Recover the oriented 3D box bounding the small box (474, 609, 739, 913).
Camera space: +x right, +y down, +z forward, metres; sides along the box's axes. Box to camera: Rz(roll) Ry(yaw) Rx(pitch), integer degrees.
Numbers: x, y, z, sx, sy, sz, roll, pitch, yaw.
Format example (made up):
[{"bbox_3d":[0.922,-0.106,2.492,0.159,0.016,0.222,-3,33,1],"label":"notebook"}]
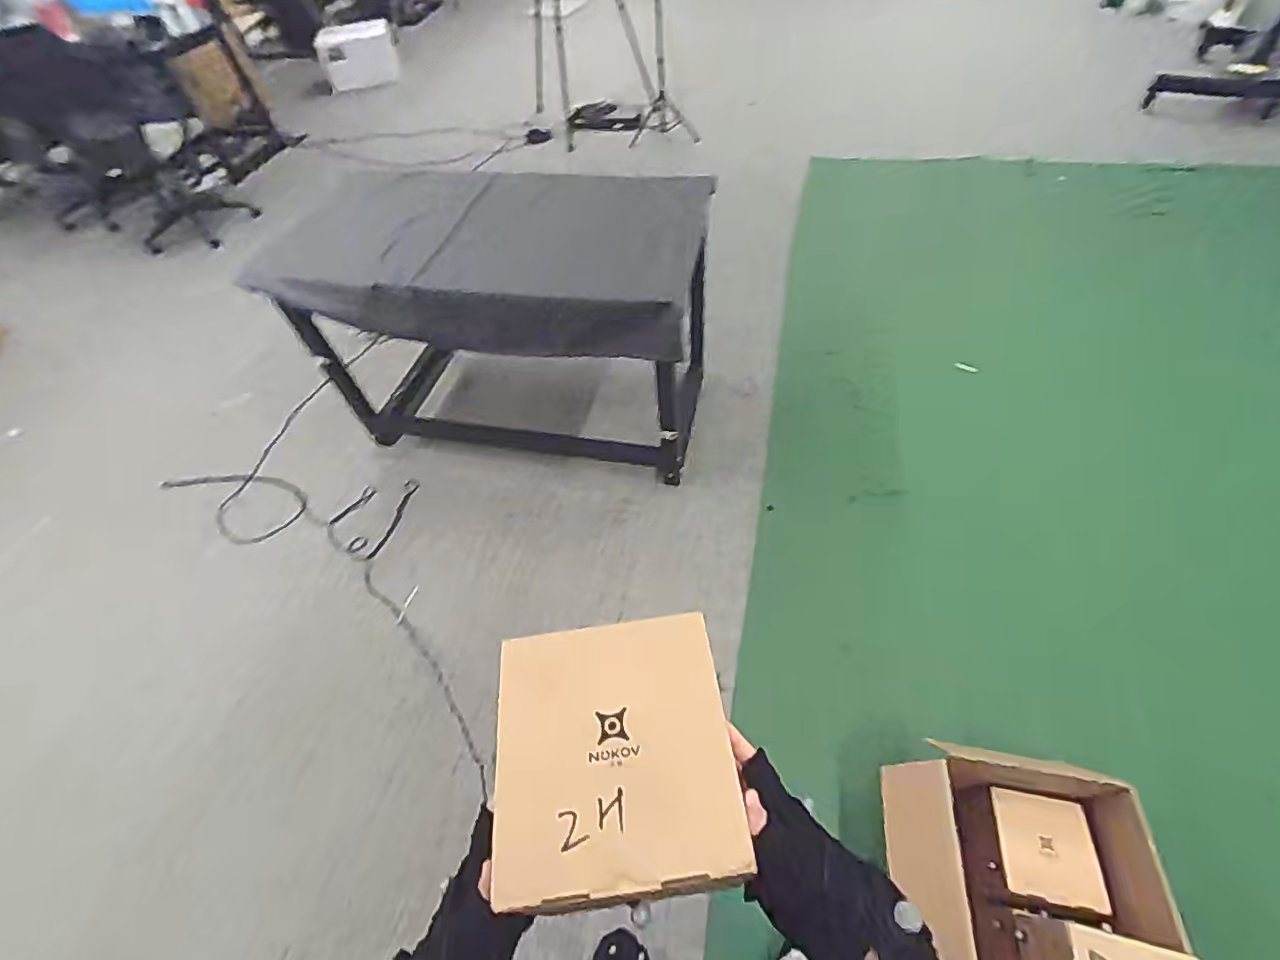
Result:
[{"bbox_3d":[-0.023,0.231,0.442,0.168,0.176,0.179,-9,51,-1],"label":"small box"}]
